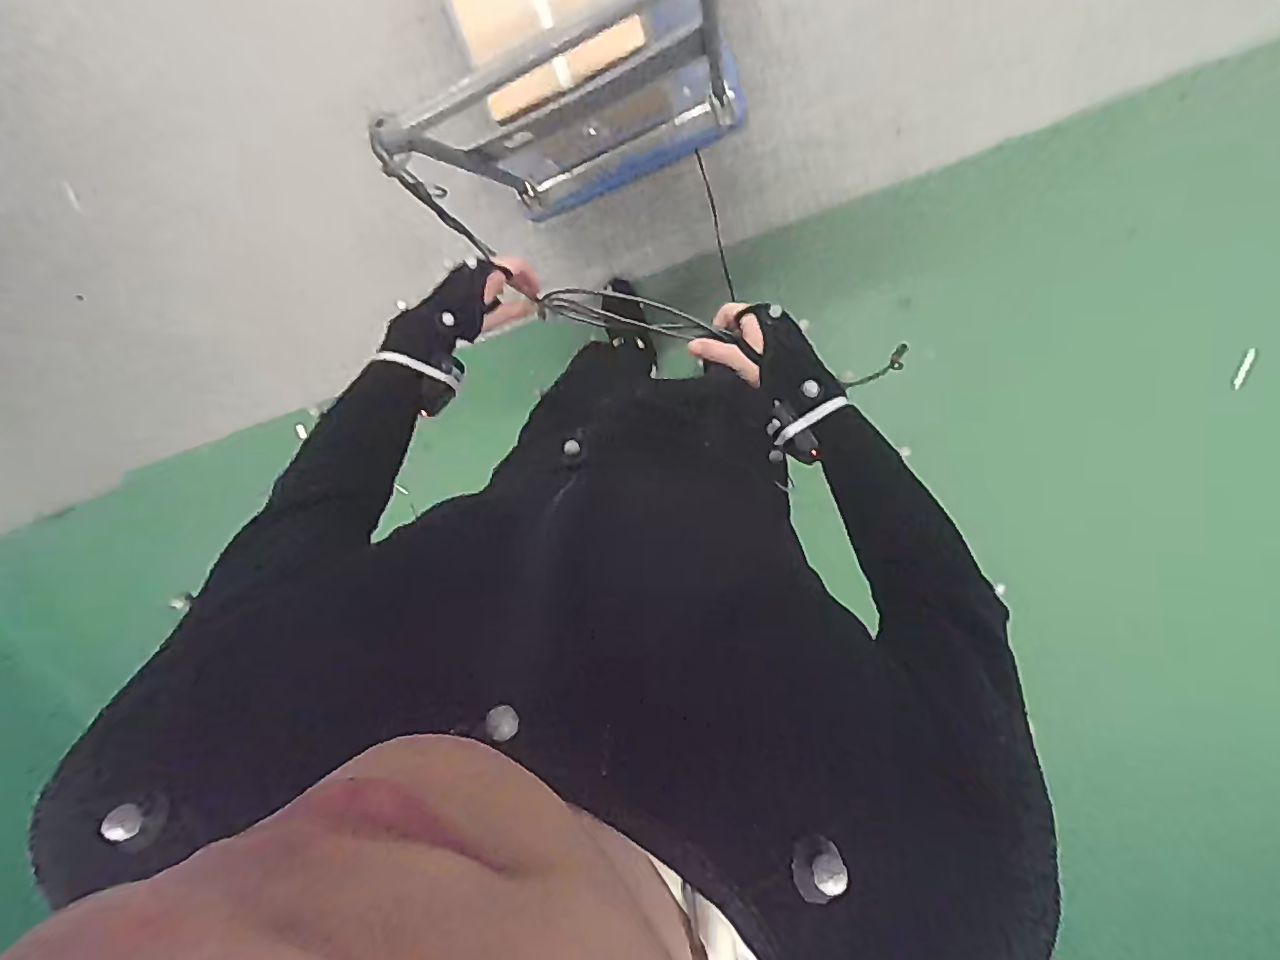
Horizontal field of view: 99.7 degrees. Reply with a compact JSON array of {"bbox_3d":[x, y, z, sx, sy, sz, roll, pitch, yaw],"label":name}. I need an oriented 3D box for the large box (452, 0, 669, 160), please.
[{"bbox_3d":[-0.165,-0.942,1.078,0.320,0.320,0.408,-15,103,15],"label":"large box"}]
